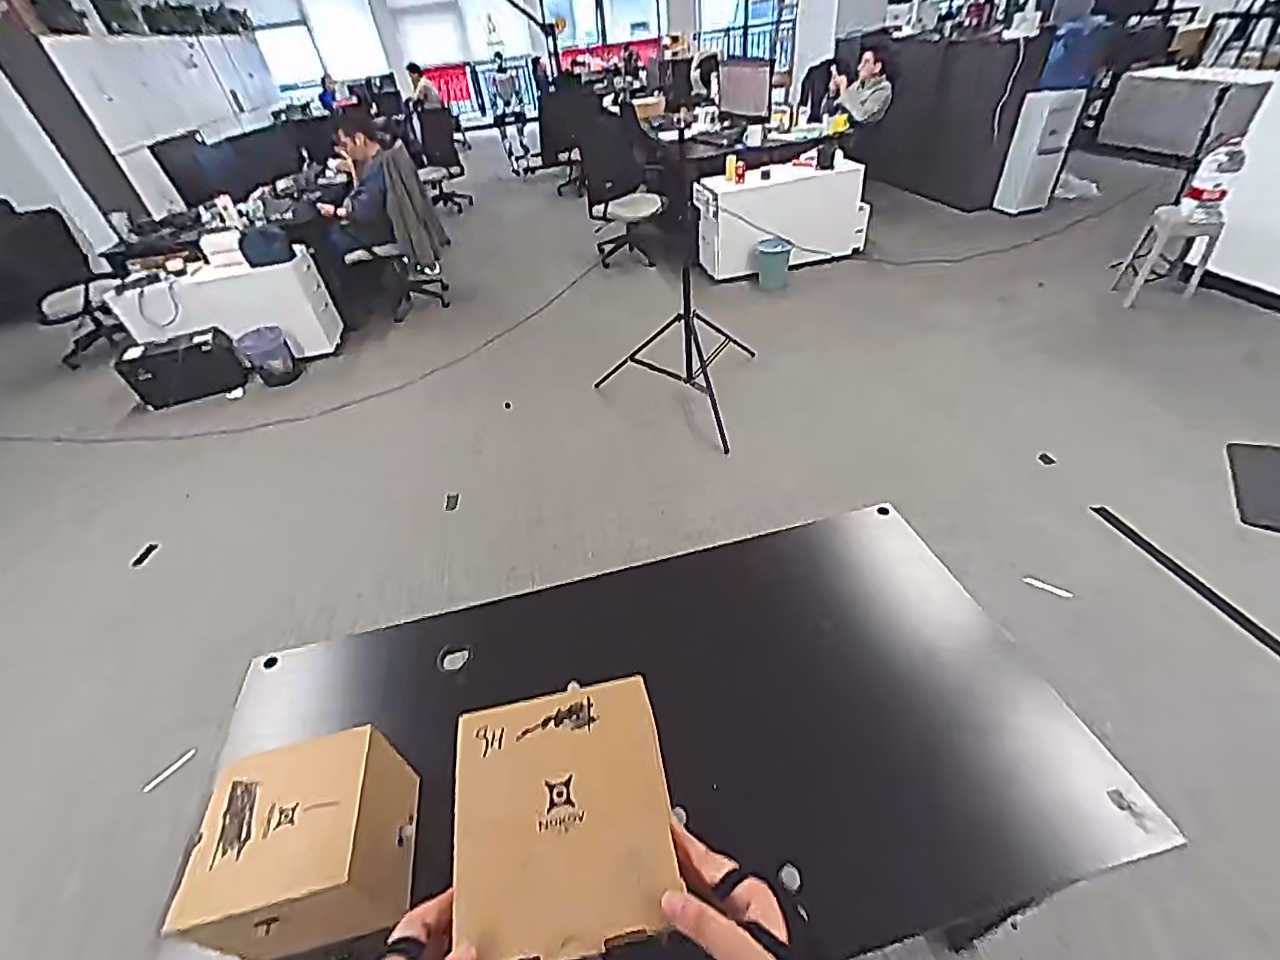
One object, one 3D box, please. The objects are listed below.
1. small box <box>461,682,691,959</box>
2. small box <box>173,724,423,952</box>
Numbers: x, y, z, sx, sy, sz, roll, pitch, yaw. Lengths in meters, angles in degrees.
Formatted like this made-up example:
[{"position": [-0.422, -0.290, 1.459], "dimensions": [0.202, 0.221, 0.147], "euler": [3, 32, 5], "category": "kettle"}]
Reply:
[{"position": [-0.052, 0.310, 0.490], "dimensions": [0.168, 0.176, 0.179], "euler": [-12, 52, -3], "category": "small box"}, {"position": [-0.383, 0.428, 0.647], "dimensions": [0.179, 0.176, 0.168], "euler": [-12, 41, -7], "category": "small box"}]
